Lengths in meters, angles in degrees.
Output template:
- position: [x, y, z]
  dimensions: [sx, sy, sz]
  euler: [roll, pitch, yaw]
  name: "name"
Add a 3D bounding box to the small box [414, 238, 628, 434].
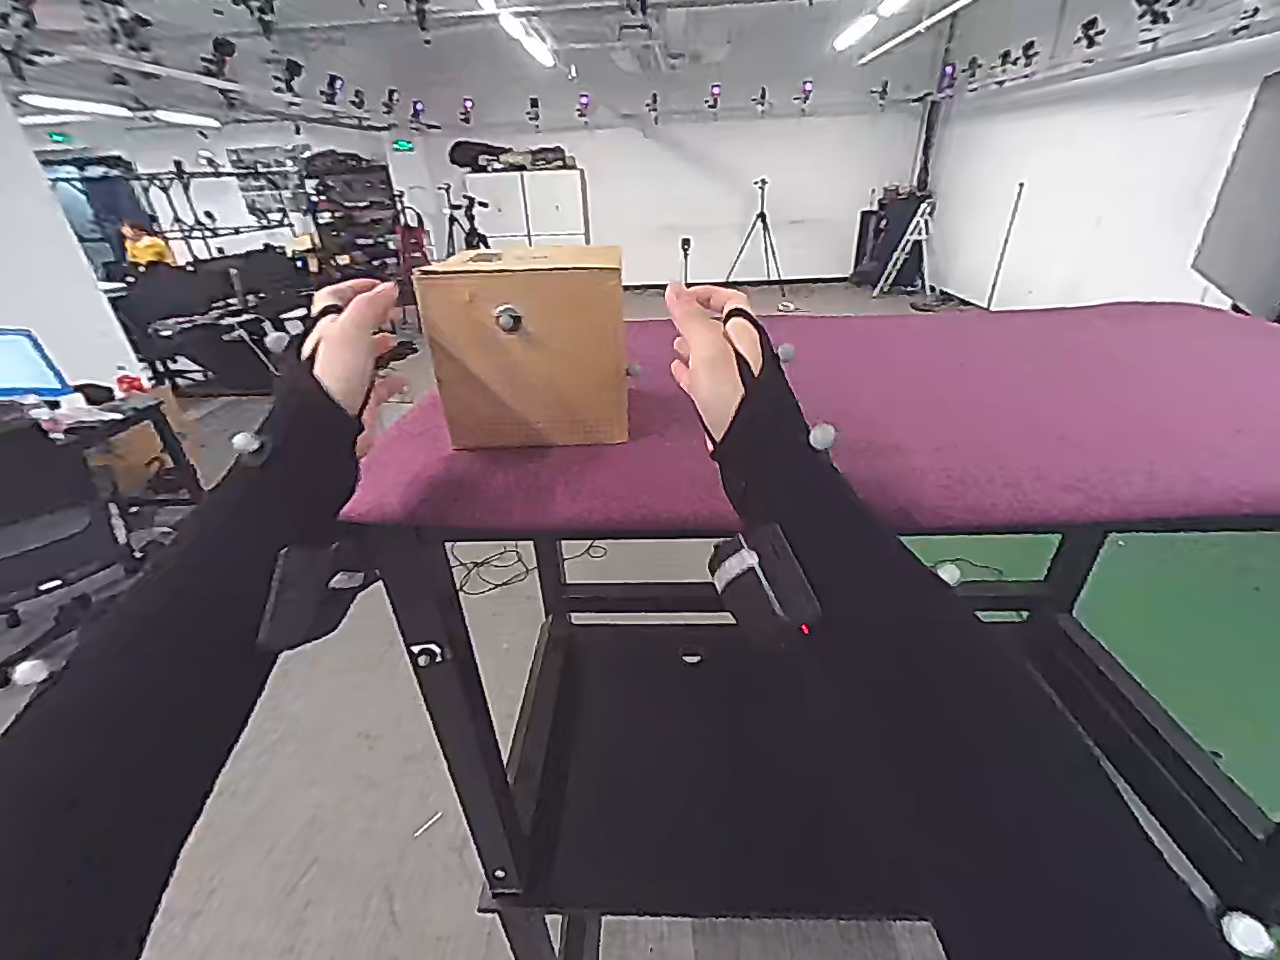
- position: [-0.105, -0.153, 0.565]
  dimensions: [0.179, 0.176, 0.168]
  euler: [-2, 29, 0]
  name: "small box"
